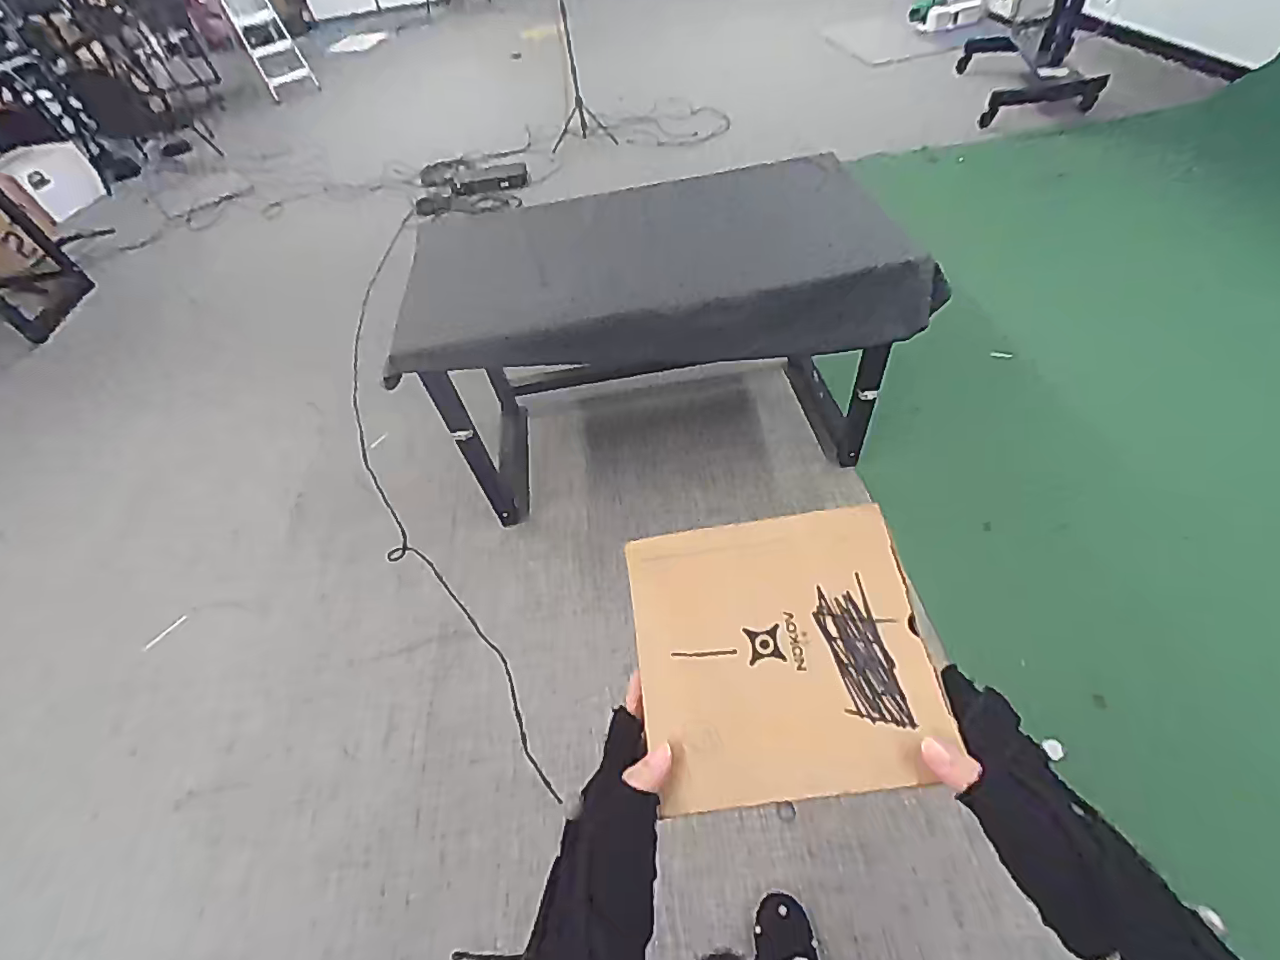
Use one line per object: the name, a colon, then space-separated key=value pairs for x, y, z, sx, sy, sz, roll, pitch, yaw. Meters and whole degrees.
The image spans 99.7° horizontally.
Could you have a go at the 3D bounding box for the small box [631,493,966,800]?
small box: x=0.095 y=0.130 z=0.413 sx=0.179 sy=0.176 sz=0.168 roll=-11 pitch=63 yaw=-1
